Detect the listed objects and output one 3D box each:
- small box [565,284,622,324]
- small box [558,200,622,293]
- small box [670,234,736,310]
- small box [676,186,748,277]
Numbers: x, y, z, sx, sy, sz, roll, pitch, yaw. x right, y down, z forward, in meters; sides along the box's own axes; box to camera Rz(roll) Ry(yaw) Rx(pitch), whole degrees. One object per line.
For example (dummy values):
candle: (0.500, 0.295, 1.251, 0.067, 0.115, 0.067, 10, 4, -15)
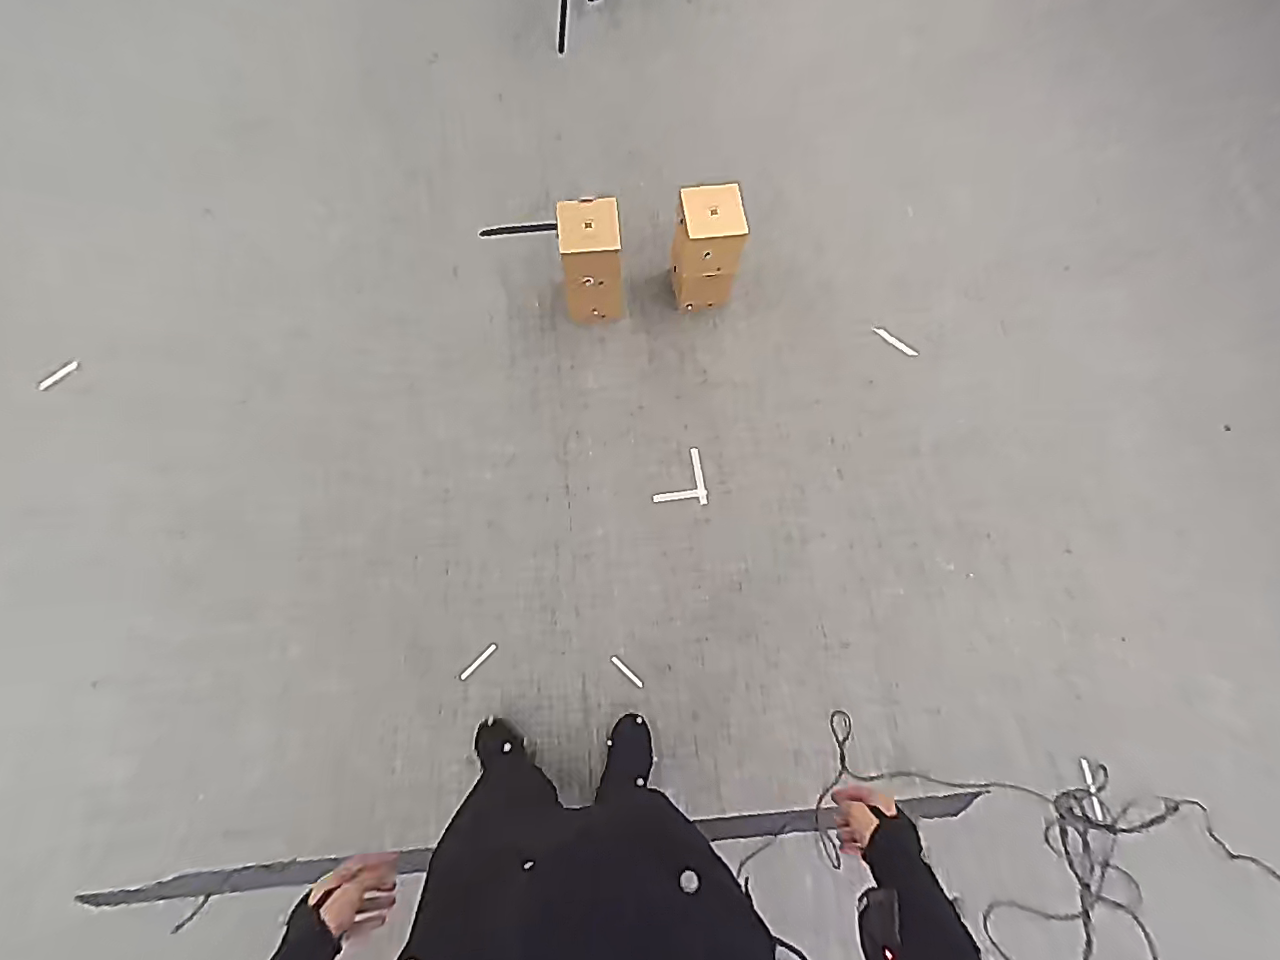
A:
small box: (-0.145, -0.610, 1.677, 0.168, 0.176, 0.179, -5, 74, -2)
small box: (-0.139, -0.653, 1.519, 0.168, 0.176, 0.179, -5, 73, -2)
small box: (0.193, -0.651, 1.698, 0.168, 0.176, 0.179, -8, 72, -4)
small box: (0.199, -0.700, 1.543, 0.168, 0.176, 0.179, -7, 72, -4)
